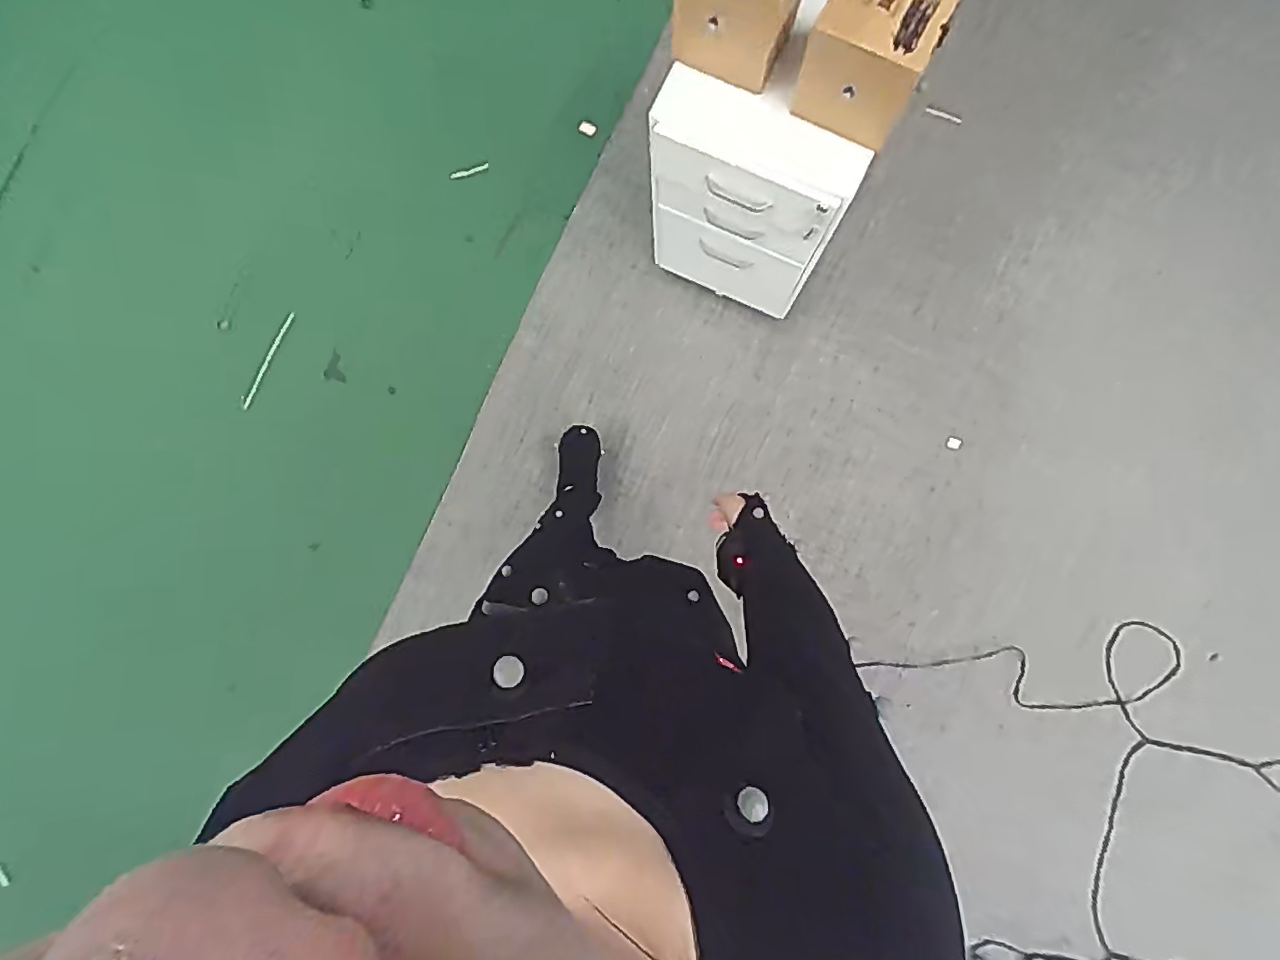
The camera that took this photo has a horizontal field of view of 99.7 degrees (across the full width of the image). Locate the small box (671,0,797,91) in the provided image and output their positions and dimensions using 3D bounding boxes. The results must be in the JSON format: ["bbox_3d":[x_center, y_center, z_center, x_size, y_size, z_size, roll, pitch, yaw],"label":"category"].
[{"bbox_3d":[0.160,-0.802,0.901,0.179,0.176,0.168,25,86,4],"label":"small box"}]
